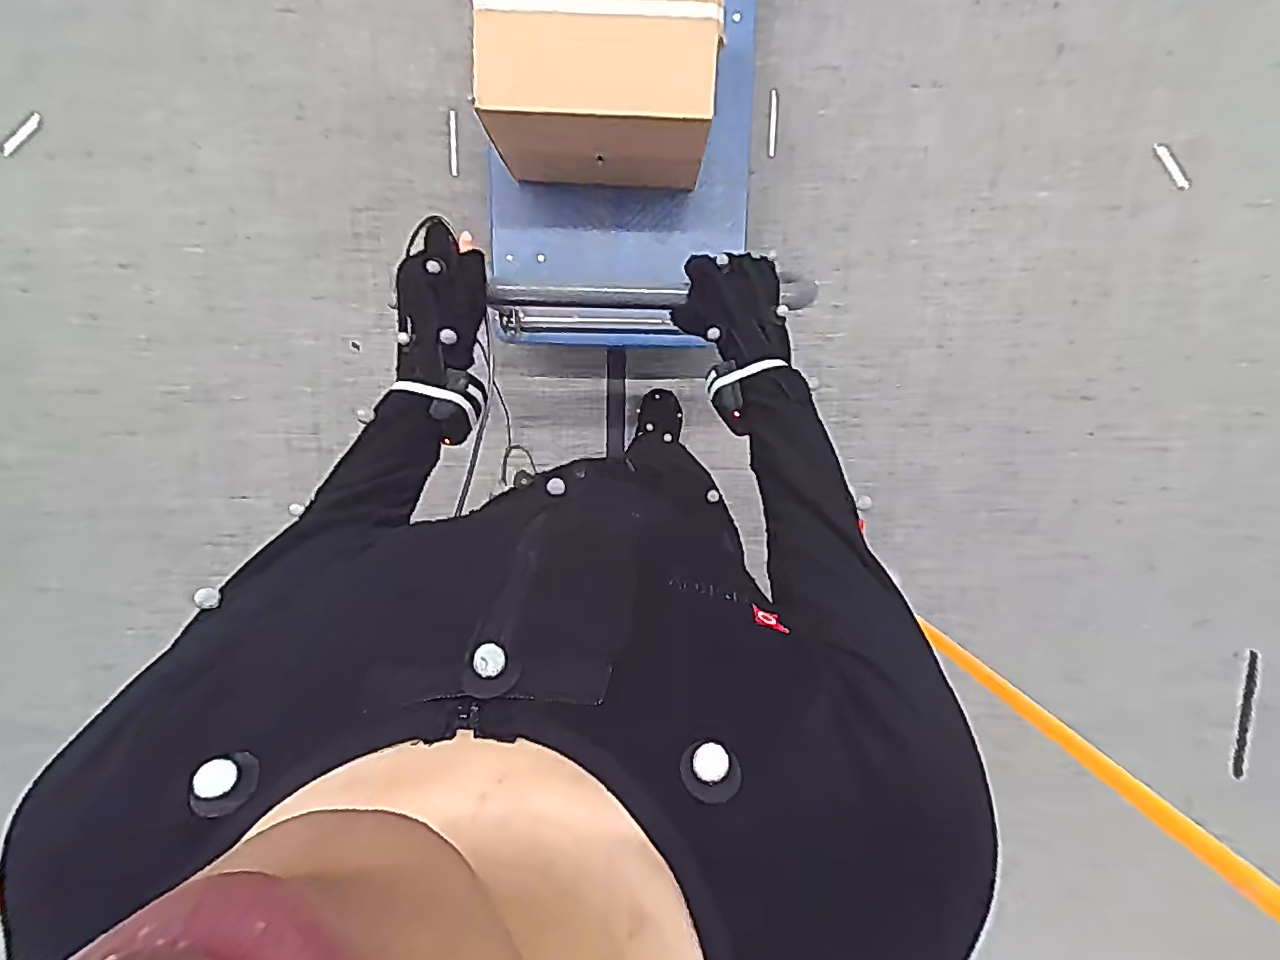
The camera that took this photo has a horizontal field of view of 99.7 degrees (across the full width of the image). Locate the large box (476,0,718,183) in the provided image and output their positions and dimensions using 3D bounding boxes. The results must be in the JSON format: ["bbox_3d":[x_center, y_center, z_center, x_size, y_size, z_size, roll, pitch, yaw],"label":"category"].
[{"bbox_3d":[-0.069,-0.788,1.033,0.408,0.320,0.320,2,99,0],"label":"large box"}]
